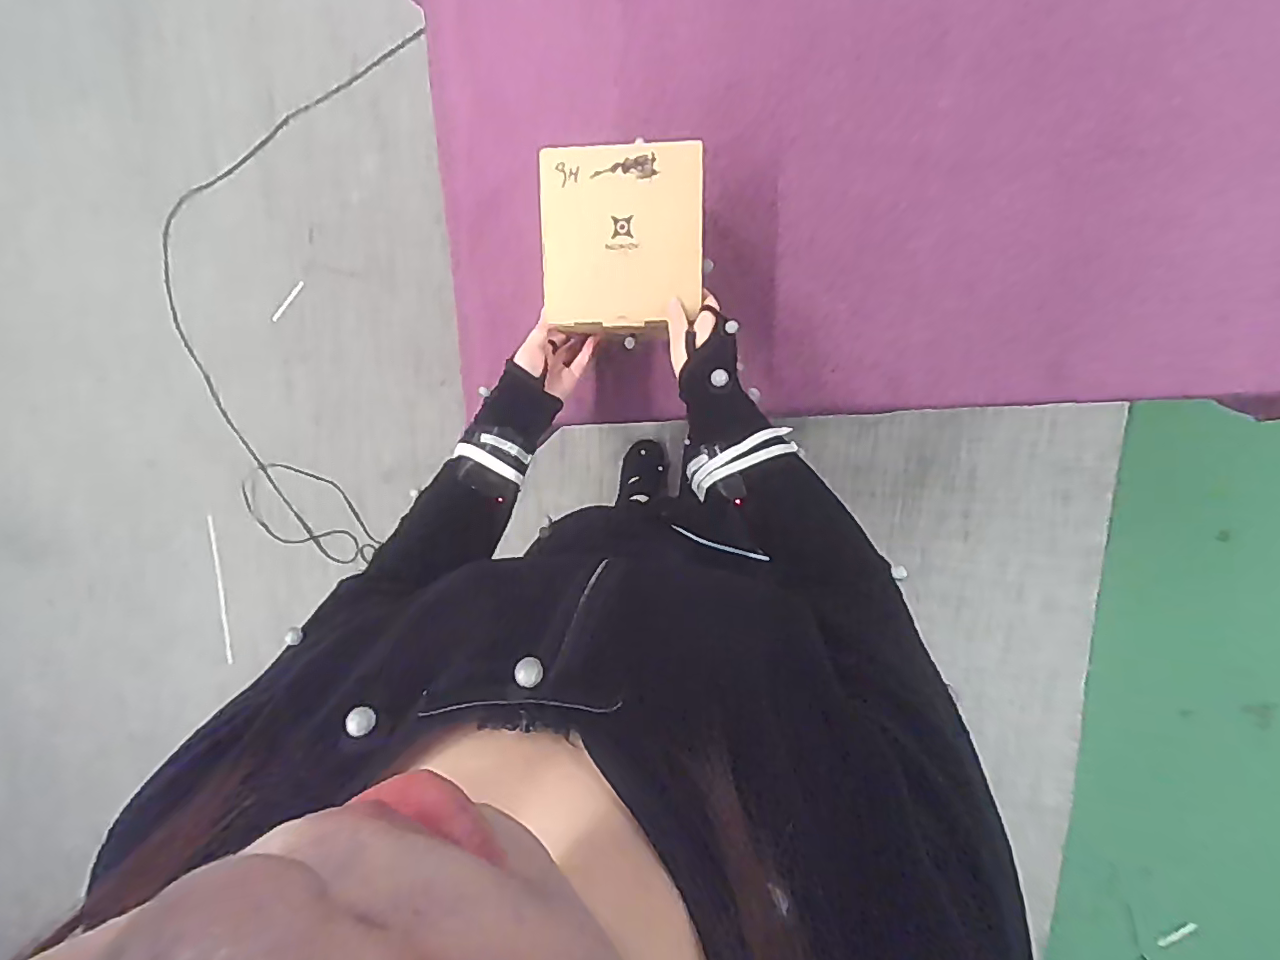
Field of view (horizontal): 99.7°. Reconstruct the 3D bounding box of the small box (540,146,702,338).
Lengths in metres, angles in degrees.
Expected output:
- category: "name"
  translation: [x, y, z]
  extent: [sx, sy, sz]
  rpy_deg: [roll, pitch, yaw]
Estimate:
- category: "small box"
  translation: [-0.015, -0.260, 0.630]
  extent: [0.168, 0.176, 0.179]
  rpy_deg: [1, 100, 4]
